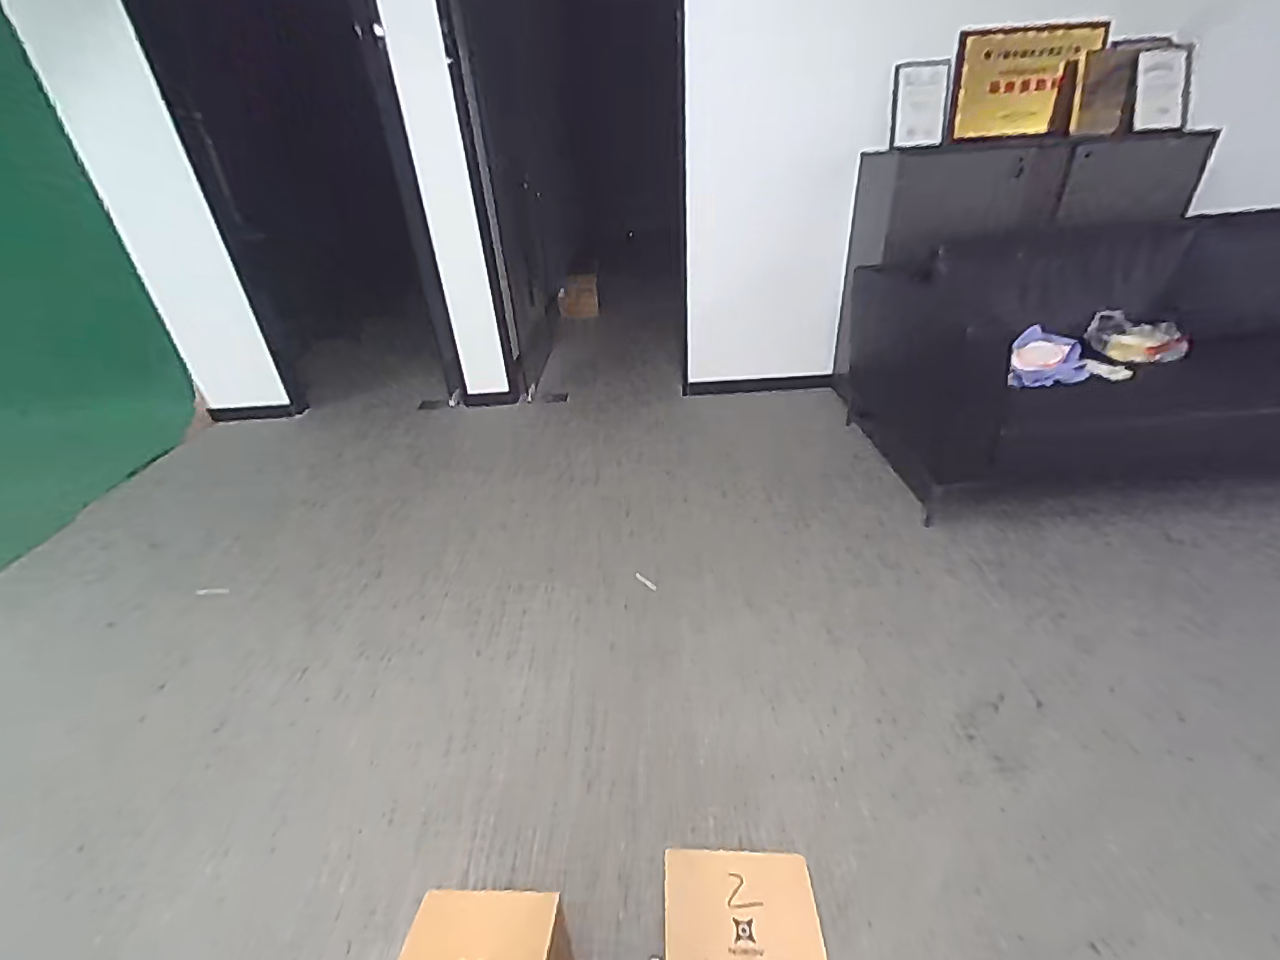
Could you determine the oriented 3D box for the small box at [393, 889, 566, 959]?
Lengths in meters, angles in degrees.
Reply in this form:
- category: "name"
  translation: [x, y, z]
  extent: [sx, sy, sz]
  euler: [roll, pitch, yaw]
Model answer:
- category: "small box"
  translation: [-0.177, 0.588, 0.580]
  extent: [0.168, 0.176, 0.179]
  euler: [-4, 20, 7]
